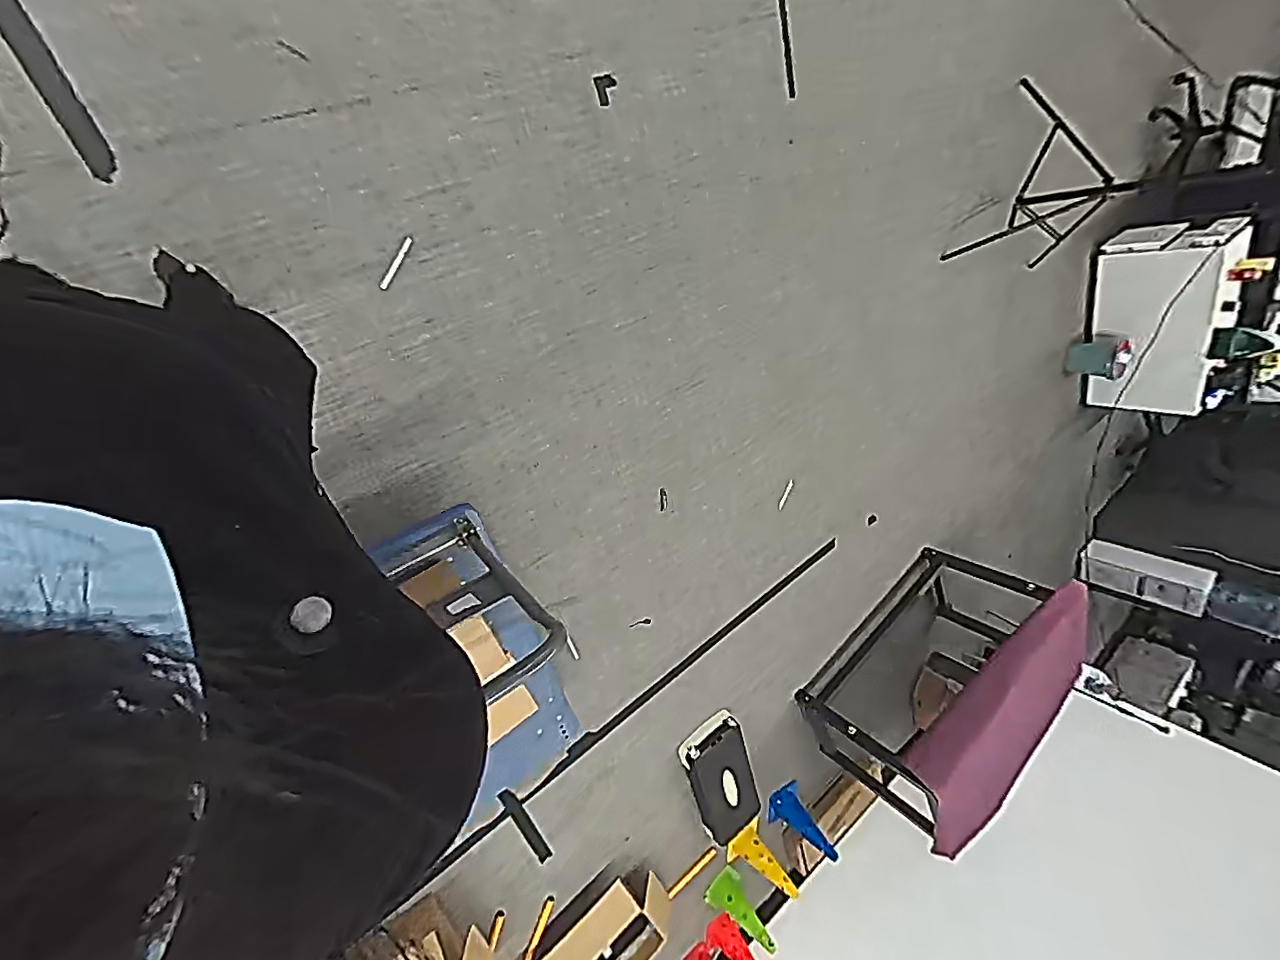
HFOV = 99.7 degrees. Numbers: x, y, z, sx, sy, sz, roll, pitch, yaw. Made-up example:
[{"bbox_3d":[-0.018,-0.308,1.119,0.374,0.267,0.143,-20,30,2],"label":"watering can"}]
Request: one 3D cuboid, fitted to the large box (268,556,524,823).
[{"bbox_3d":[-0.545,0.442,1.226,0.408,0.320,0.320,-32,119,-22],"label":"large box"}]
